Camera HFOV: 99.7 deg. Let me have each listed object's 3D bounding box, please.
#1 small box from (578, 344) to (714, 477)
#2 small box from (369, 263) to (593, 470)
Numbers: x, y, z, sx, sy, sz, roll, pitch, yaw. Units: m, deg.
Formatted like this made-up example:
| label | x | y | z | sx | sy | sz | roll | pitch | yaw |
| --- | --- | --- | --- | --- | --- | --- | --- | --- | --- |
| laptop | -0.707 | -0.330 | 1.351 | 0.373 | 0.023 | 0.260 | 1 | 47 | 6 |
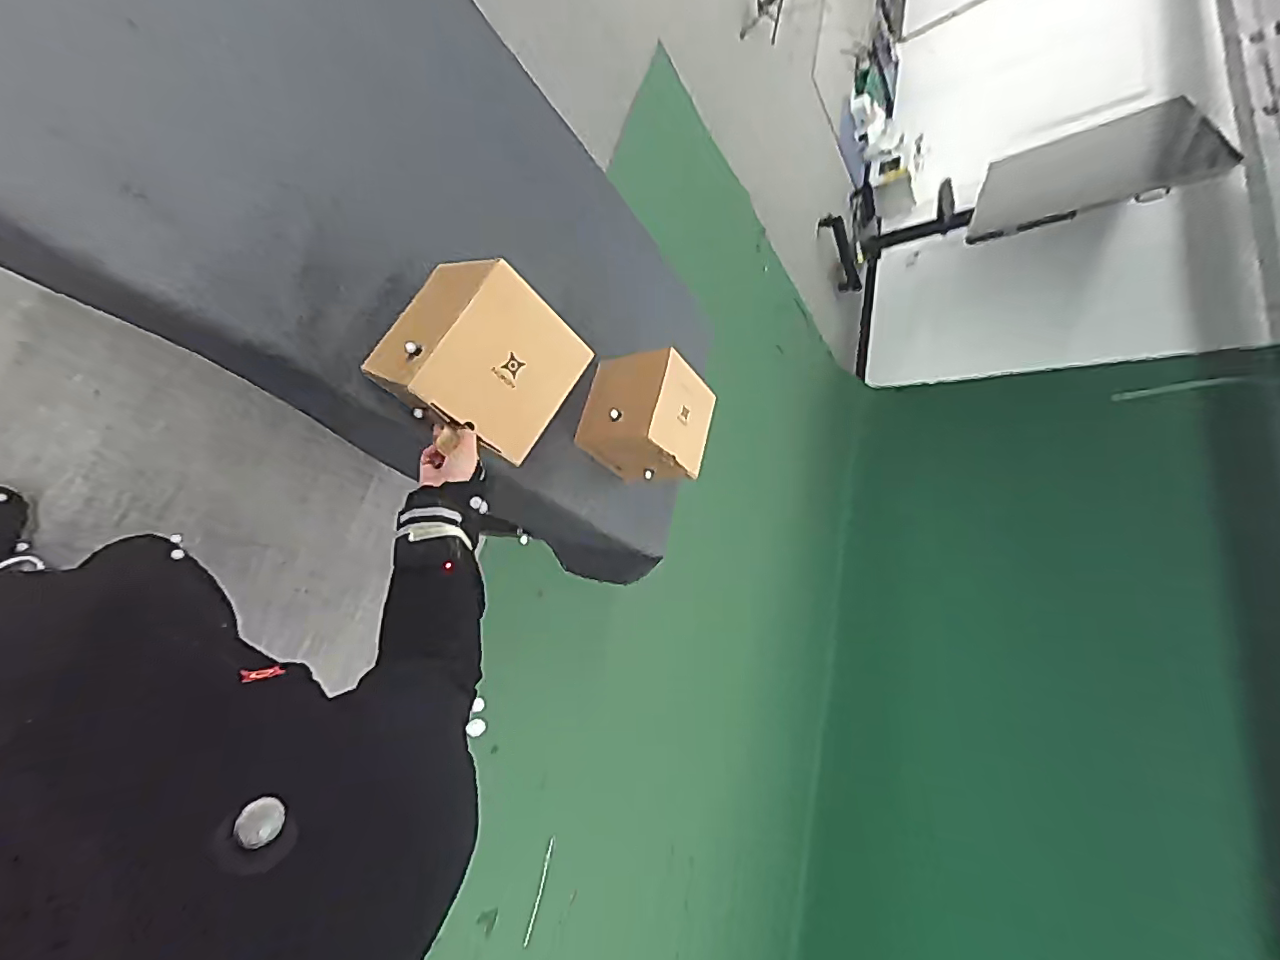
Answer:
| label | x | y | z | sx | sy | sz | roll | pitch | yaw |
| --- | --- | --- | --- | --- | --- | --- | --- | --- | --- |
| small box | 0.010 | -0.114 | 0.978 | 0.168 | 0.176 | 0.179 | 37 | 60 | -47 |
| small box | -0.198 | -0.143 | 0.664 | 0.168 | 0.176 | 0.179 | 41 | 77 | -44 |
